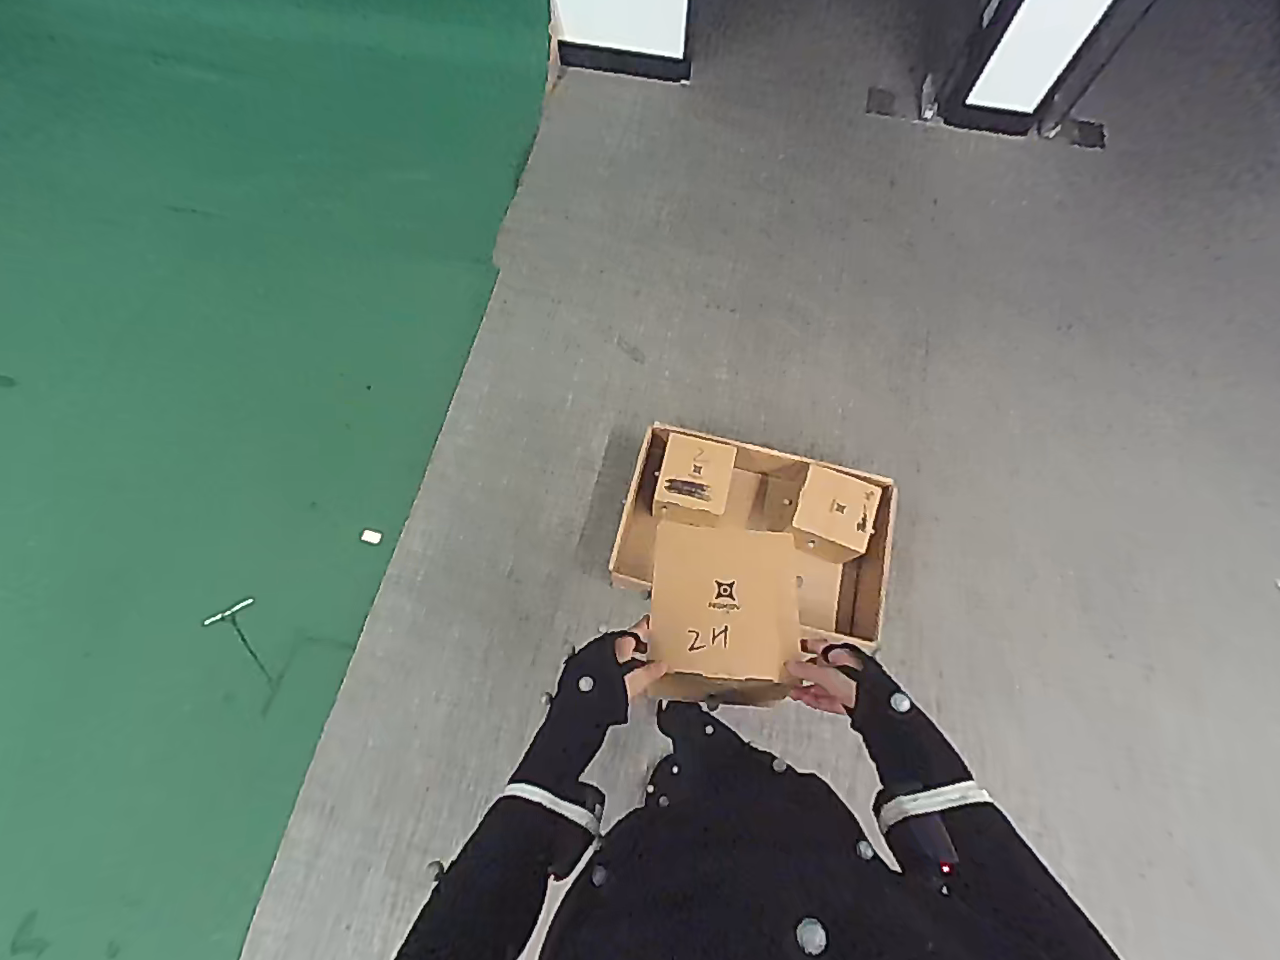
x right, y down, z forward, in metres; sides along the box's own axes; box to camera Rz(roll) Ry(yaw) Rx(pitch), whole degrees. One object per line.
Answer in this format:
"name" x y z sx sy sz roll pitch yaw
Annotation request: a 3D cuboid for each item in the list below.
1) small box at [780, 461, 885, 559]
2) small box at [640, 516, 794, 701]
"small box" 0.455 0.080 1.309 0.179 0.176 0.168 22 75 9
"small box" 0.091 0.165 0.677 0.168 0.176 0.179 4 60 5
